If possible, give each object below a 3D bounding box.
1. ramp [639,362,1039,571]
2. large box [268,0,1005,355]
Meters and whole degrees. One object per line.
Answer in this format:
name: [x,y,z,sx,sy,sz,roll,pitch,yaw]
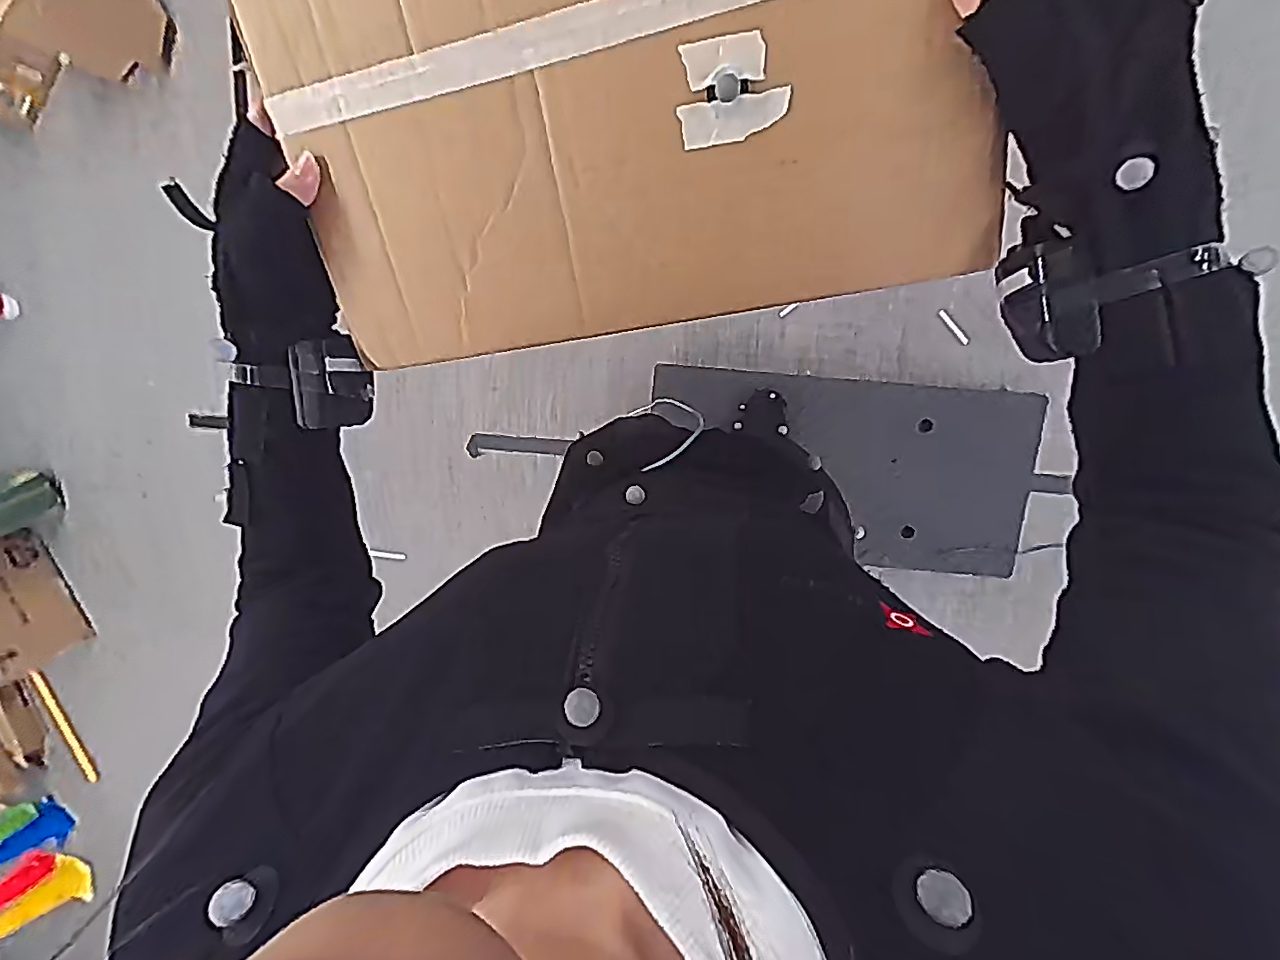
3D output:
ramp: [0.509,-0.033,1.429,0.991,0.206,0.509,5,98,11]
large box: [0.003,-0.308,0.433,0.408,0.320,0.320,-6,112,11]
